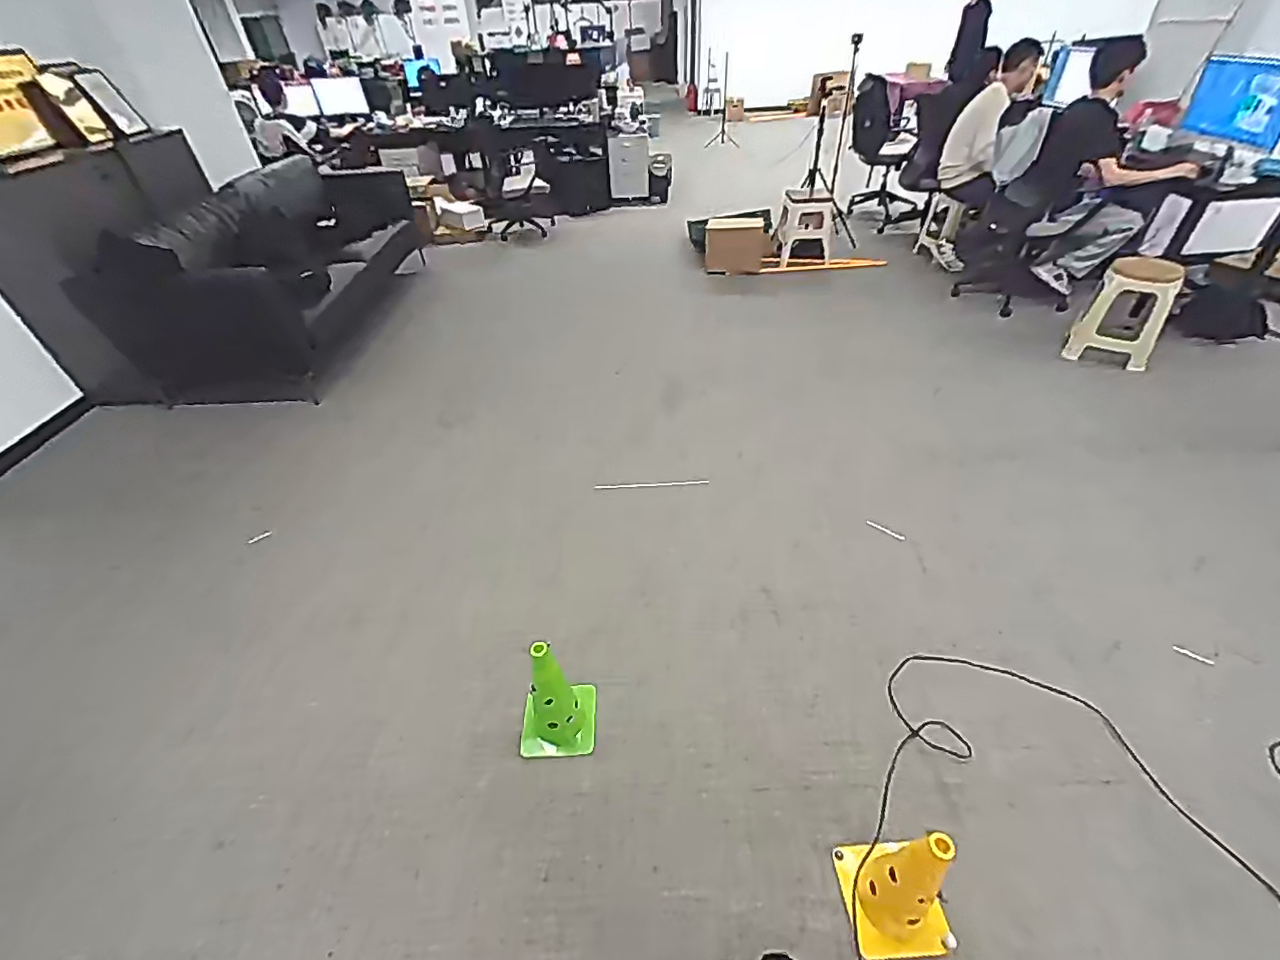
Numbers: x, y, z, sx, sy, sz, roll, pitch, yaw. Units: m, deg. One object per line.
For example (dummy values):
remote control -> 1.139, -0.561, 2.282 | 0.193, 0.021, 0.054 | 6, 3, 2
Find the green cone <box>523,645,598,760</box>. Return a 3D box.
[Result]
green cone -> -0.224, 0.549, 1.402 | 0.202, 0.368, 0.200 | -3, 41, 0
